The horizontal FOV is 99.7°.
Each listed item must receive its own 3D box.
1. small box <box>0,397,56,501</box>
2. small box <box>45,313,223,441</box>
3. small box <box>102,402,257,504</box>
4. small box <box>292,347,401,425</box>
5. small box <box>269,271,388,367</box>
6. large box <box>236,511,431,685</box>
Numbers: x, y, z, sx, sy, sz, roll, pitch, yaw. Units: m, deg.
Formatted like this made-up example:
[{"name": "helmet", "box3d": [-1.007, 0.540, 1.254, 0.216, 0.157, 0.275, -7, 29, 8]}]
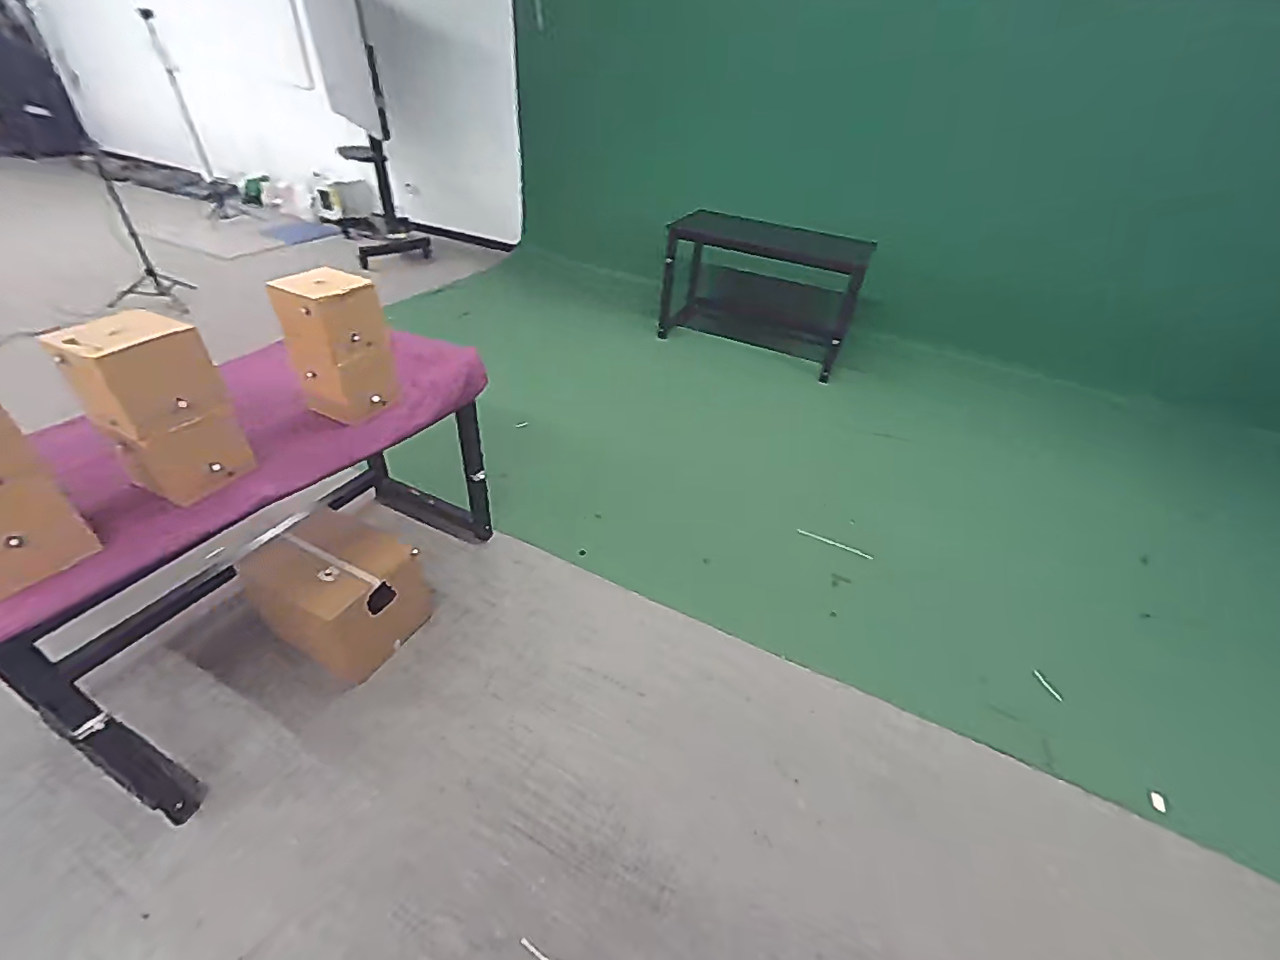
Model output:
[{"name": "small box", "box3d": [-1.090, -0.057, 0.839, 0.179, 0.176, 0.168, 22, 41, 21]}, {"name": "small box", "box3d": [-0.955, -0.201, 1.044, 0.168, 0.176, 0.179, 18, 38, 18]}, {"name": "small box", "box3d": [-0.967, -0.072, 1.144, 0.179, 0.176, 0.168, 19, 40, 18]}, {"name": "small box", "box3d": [-0.764, -0.264, 1.424, 0.179, 0.176, 0.168, 21, 40, 18]}, {"name": "small box", "box3d": [-0.756, -0.395, 1.328, 0.179, 0.176, 0.168, 20, 40, 18]}, {"name": "large box", "box3d": [-0.928, 0.357, 1.683, 0.408, 0.320, 0.320, 21, 41, 18]}]
